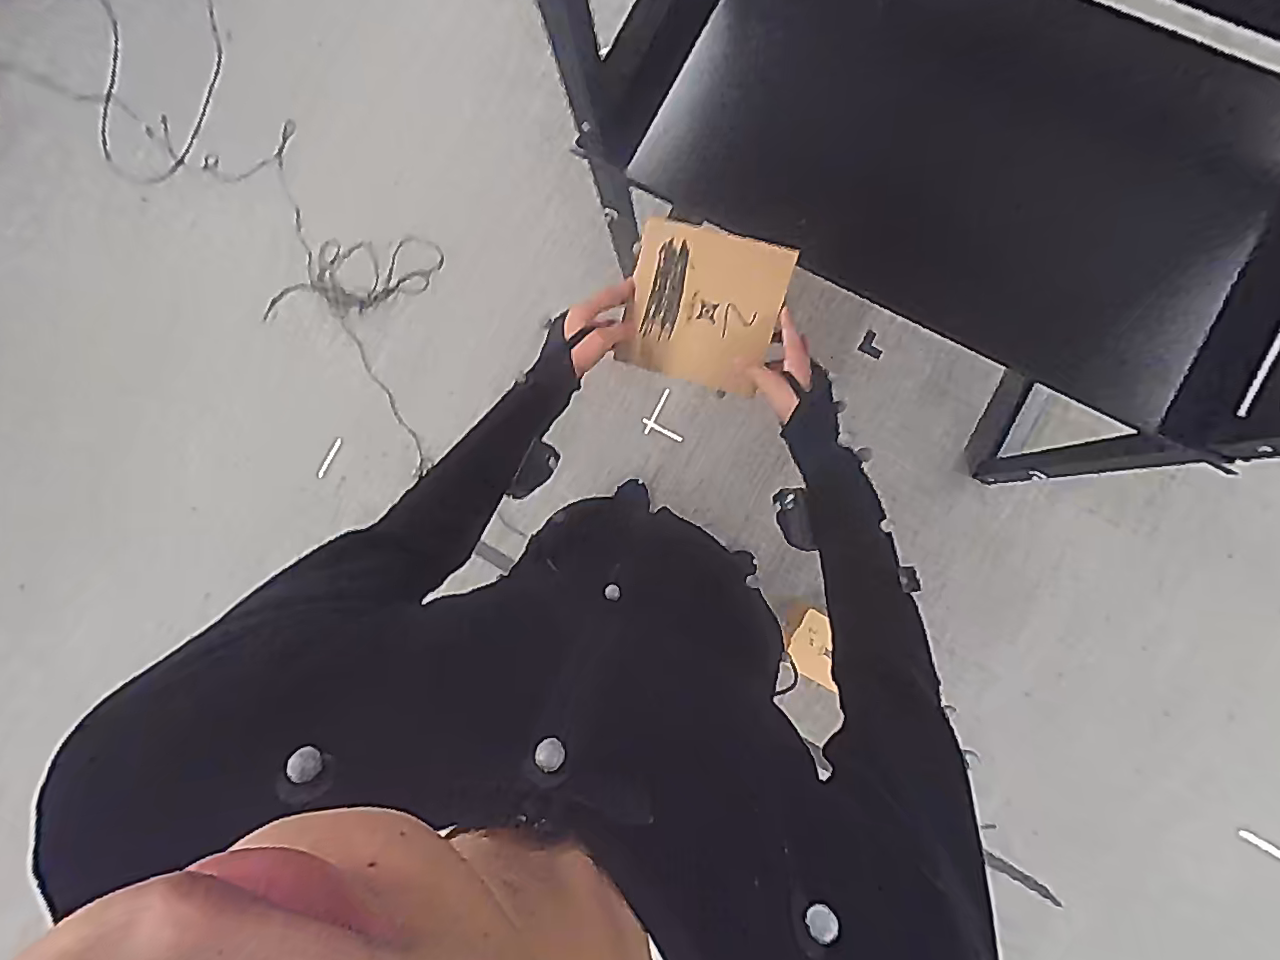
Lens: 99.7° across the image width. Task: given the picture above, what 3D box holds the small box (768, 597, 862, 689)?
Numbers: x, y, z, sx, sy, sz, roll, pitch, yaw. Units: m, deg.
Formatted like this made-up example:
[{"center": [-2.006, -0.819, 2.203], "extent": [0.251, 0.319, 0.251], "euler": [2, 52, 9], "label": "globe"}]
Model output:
[{"center": [0.477, 0.442, 1.500], "extent": [0.179, 0.176, 0.168], "euler": [29, 90, 7], "label": "small box"}]
